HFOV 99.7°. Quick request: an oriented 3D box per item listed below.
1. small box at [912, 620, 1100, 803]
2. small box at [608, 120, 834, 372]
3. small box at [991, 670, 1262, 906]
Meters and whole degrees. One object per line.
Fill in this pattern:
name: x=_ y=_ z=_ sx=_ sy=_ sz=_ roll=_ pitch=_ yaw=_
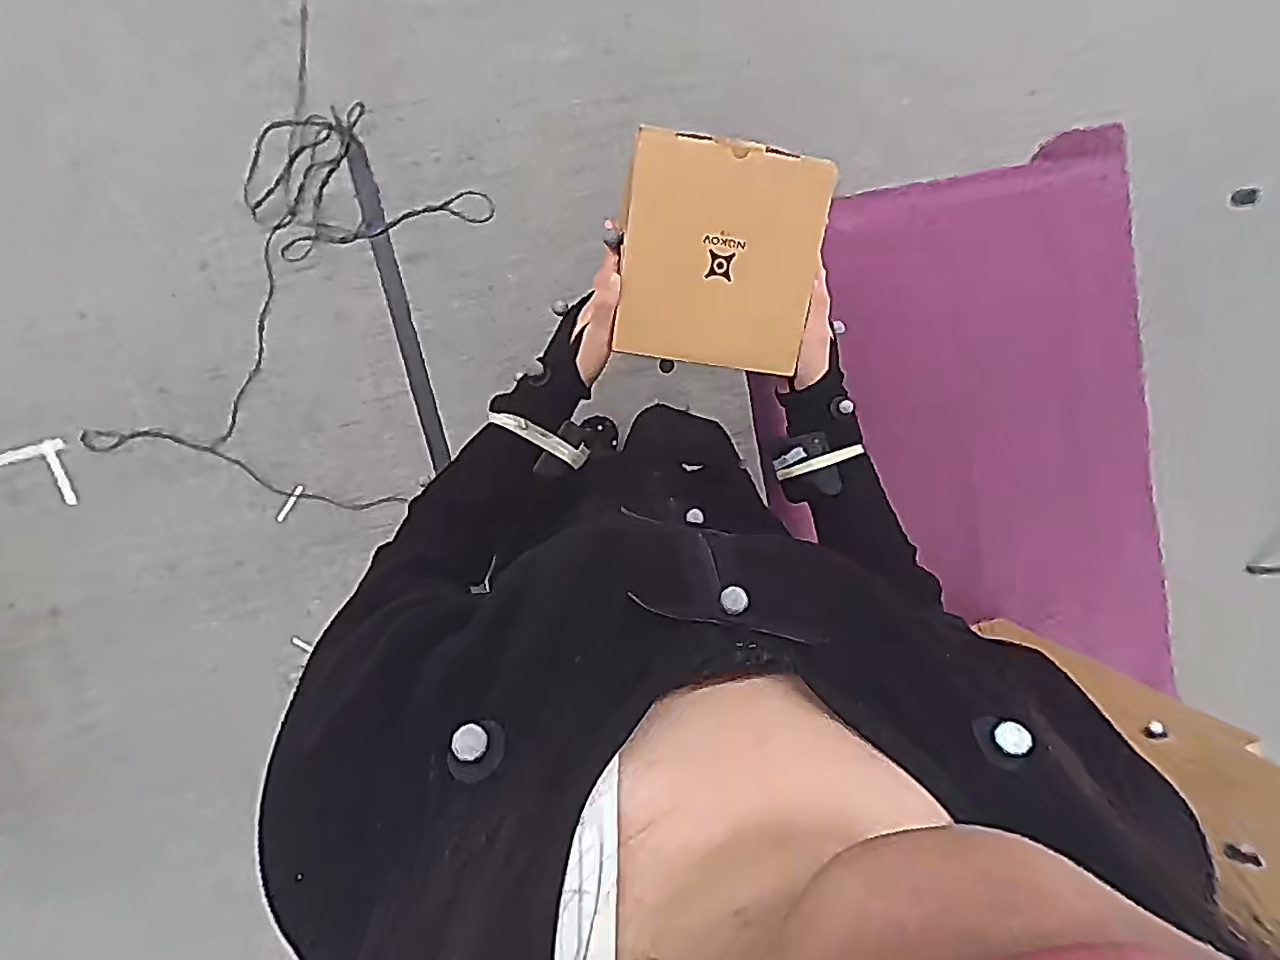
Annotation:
small box: x=0.527 y=0.326 z=0.797 sx=0.179 sy=0.176 sz=0.168 roll=-11 pitch=99 yaw=-8
small box: x=0.059 y=-0.207 z=0.523 sx=0.168 sy=0.176 sz=0.179 roll=5 pitch=104 yaw=-7
small box: x=0.557 y=0.348 z=0.637 sx=0.179 sy=0.176 sz=0.168 roll=-11 pitch=98 yaw=-7
